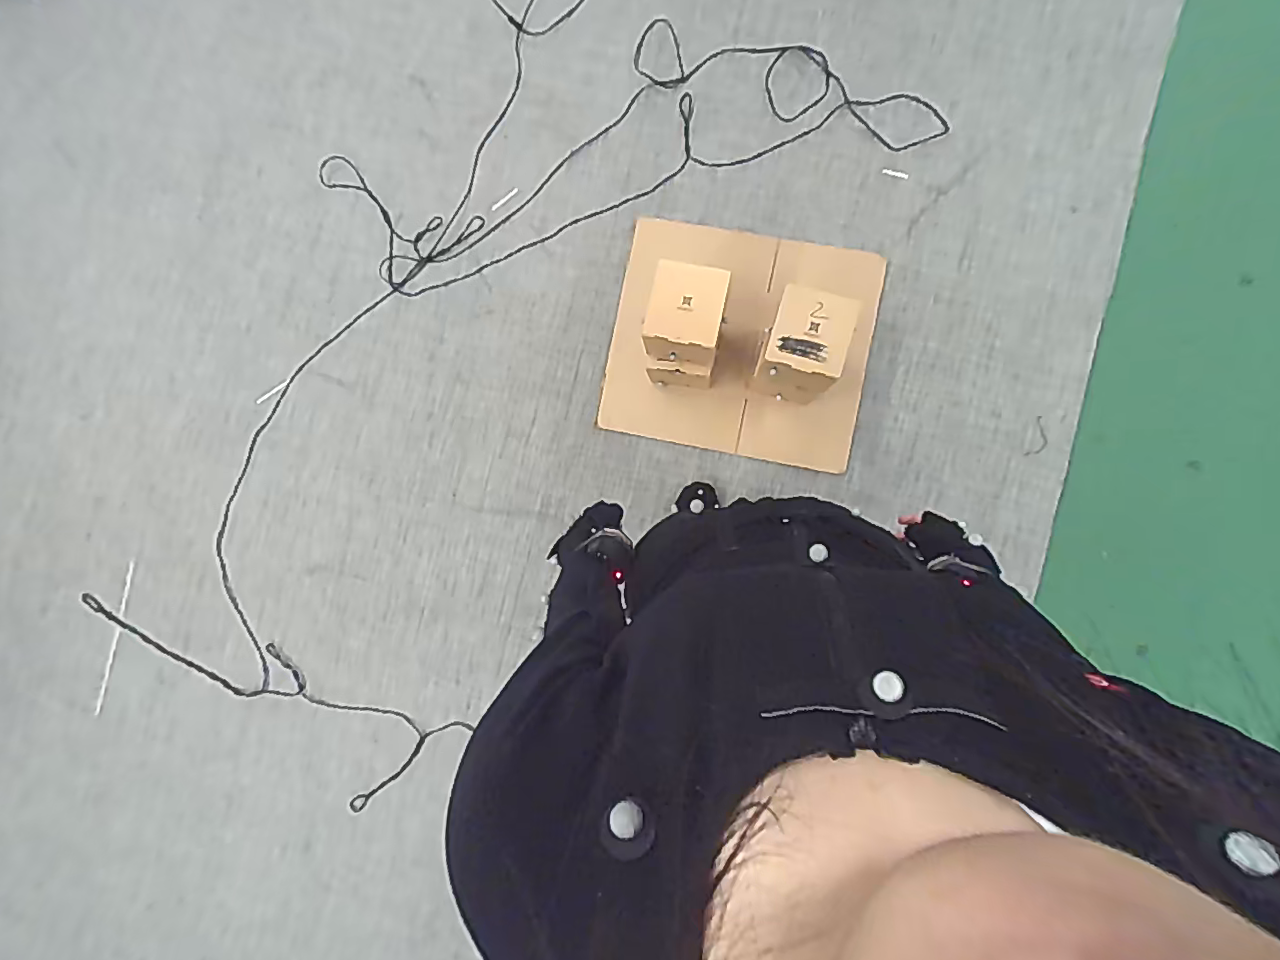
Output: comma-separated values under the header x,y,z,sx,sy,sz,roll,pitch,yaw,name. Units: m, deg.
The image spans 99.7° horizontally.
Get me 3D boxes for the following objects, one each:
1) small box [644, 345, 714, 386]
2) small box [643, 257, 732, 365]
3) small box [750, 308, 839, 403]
x,y,z,sx,sy,sz,roll,pitch,yaw,name
0.113,-0.353,1.415,0.168,0.176,0.179,9,89,6,small box
0.108,-0.384,1.253,0.168,0.176,0.179,12,89,5,small box
0.388,-0.314,1.391,0.168,0.176,0.179,16,91,7,small box
